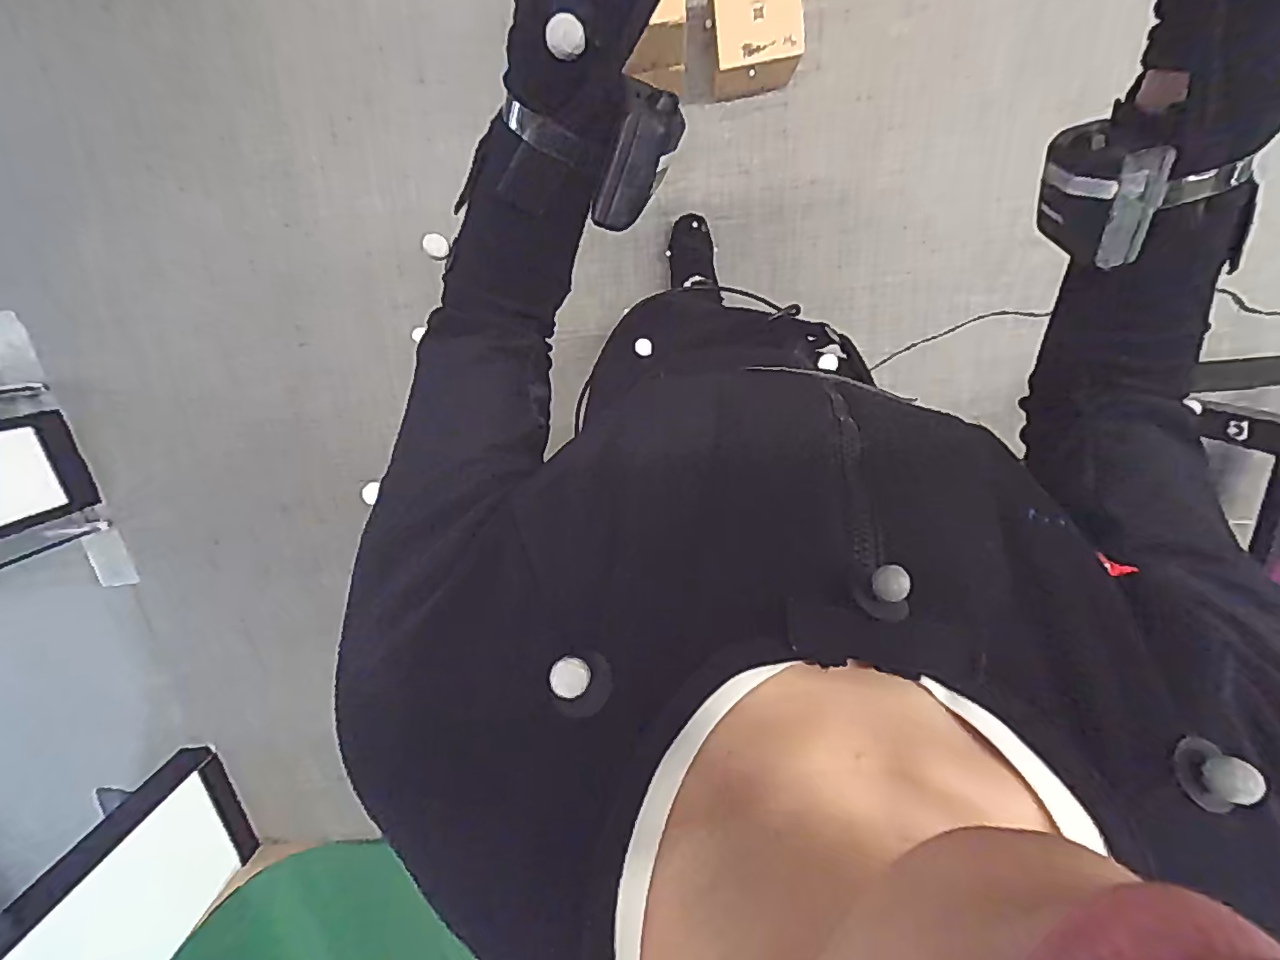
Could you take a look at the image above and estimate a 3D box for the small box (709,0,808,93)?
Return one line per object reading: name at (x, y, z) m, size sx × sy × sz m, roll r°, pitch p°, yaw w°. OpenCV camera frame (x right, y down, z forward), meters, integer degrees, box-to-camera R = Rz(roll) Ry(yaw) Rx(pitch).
small box at (0.231, -0.918, 1.082) m, size 0.168 × 0.176 × 0.179 m, roll -7°, pitch 108°, yaw 6°
